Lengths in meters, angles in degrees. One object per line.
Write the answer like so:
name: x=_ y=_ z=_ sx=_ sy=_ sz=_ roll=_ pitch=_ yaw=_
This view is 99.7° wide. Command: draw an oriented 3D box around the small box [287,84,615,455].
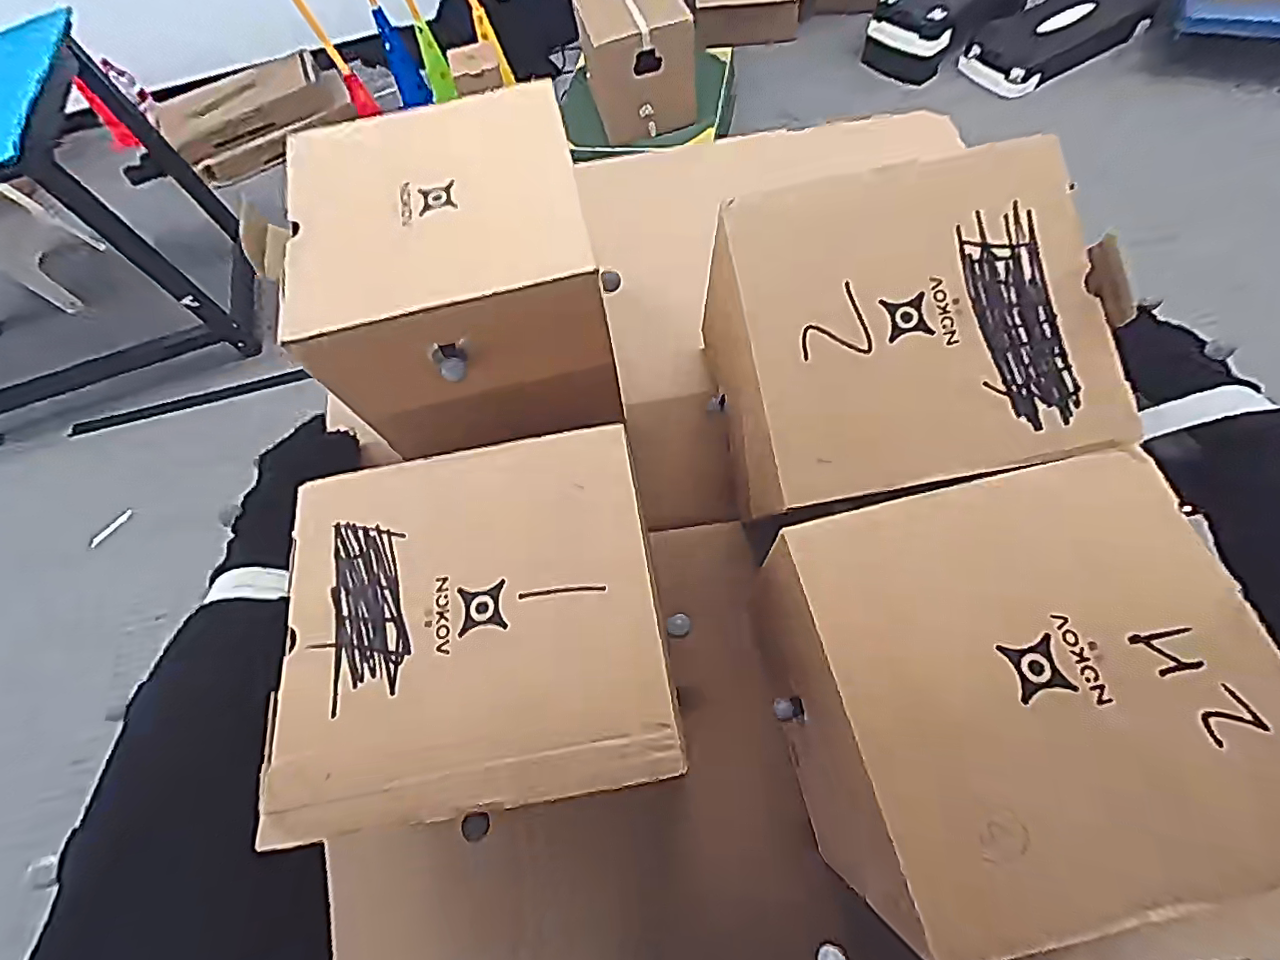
small box: x=-0.119 y=-0.138 z=0.400 sx=0.179 sy=0.176 sz=0.168 roll=-14 pitch=67 yaw=0
